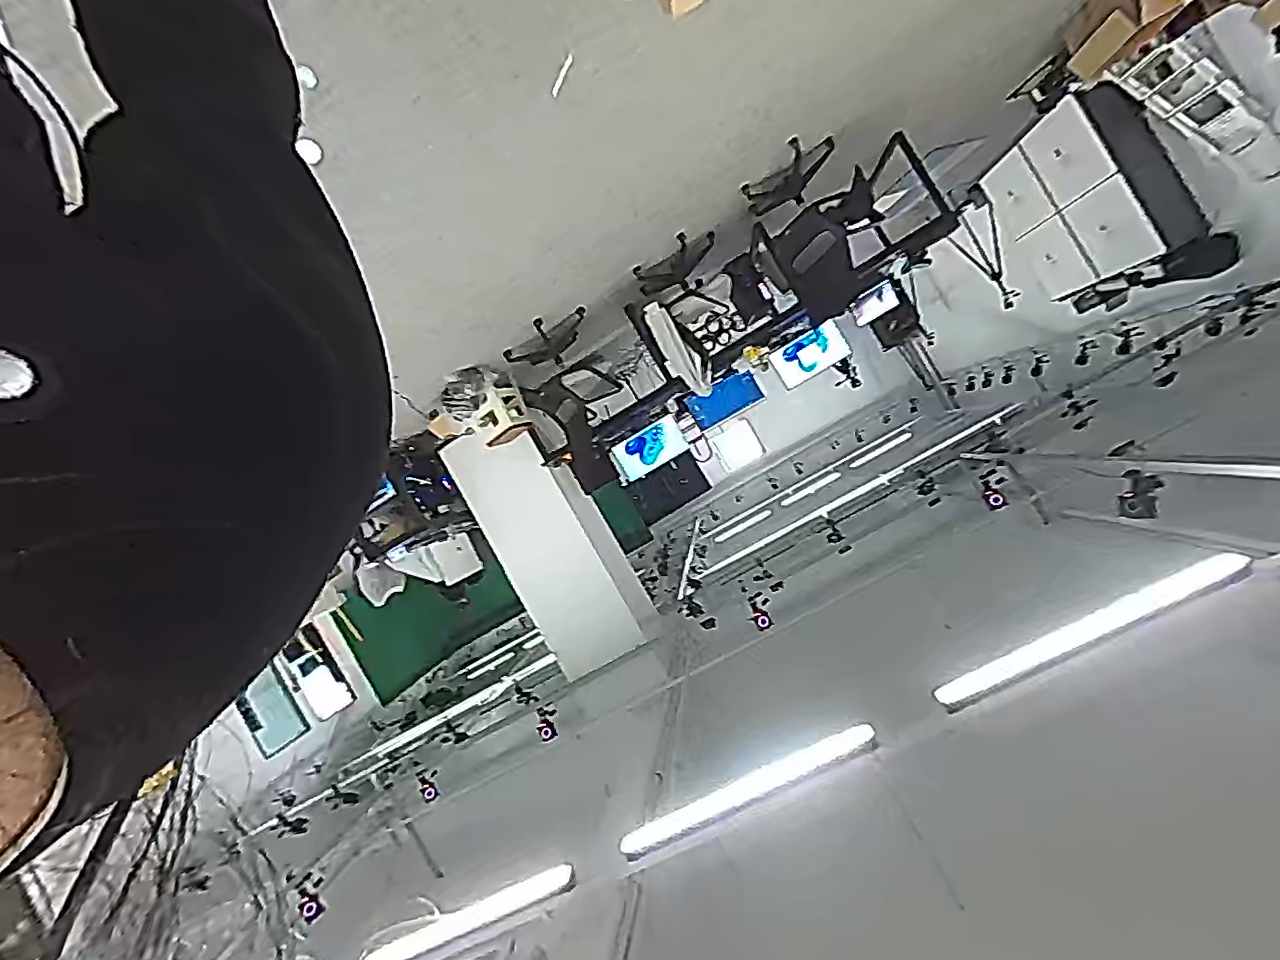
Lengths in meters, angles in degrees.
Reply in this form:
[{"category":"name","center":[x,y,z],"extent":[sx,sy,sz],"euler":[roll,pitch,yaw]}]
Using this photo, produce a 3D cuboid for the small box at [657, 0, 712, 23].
[{"category":"small box","center":[0.068,-0.714,0.630],"extent":[0.179,0.176,0.168],"euler":[-31,179,3]}]
